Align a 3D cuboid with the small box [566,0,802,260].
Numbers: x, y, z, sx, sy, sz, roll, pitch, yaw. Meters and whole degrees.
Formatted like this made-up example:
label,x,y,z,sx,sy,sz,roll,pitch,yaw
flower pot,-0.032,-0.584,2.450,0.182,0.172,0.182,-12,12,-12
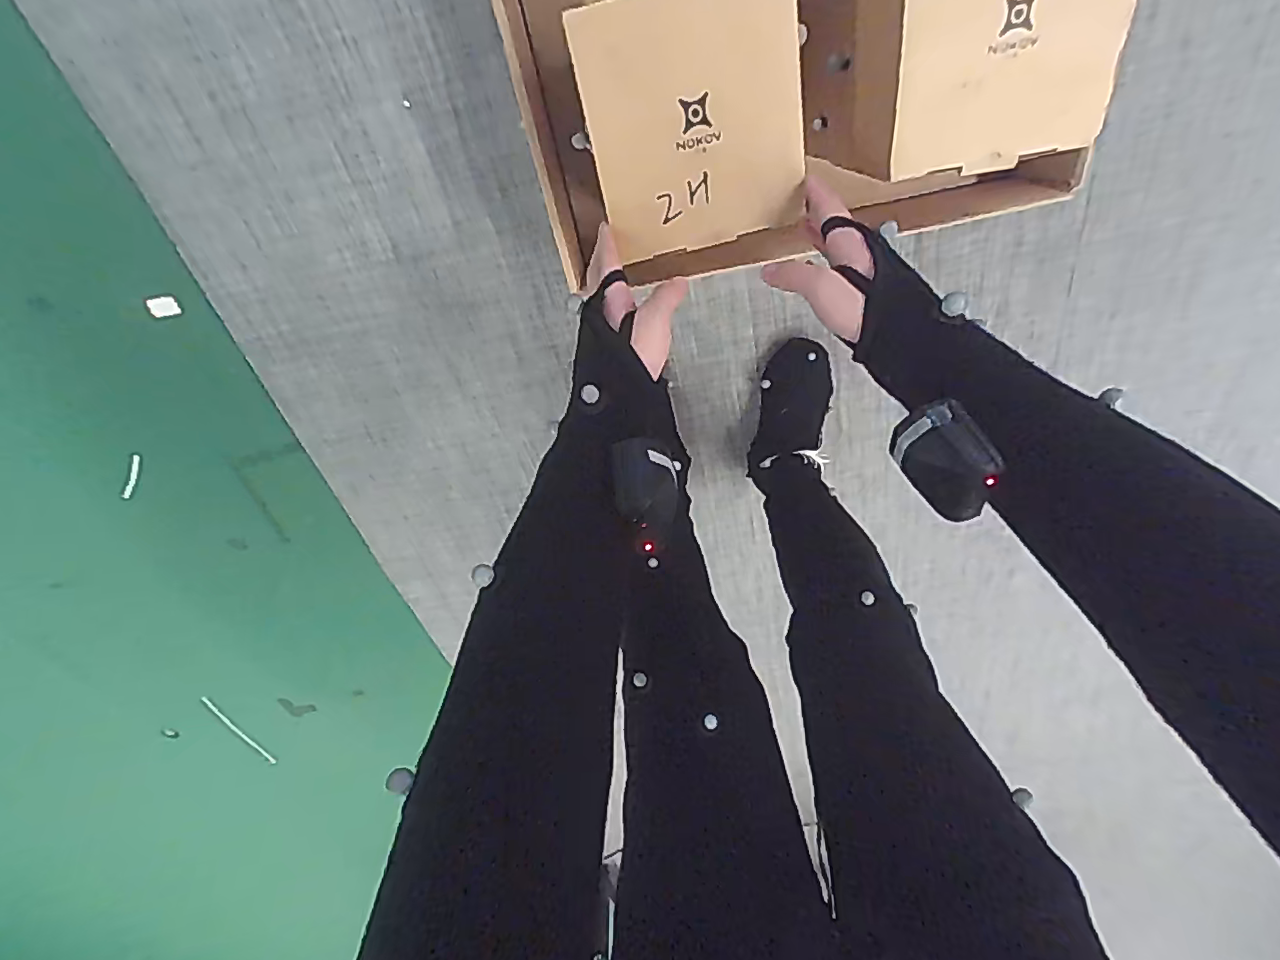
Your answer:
label,x,y,z,sx,sy,sz,roll,pitch,yaw
small box,0.037,-0.318,0.486,0.168,0.176,0.179,-11,122,5
